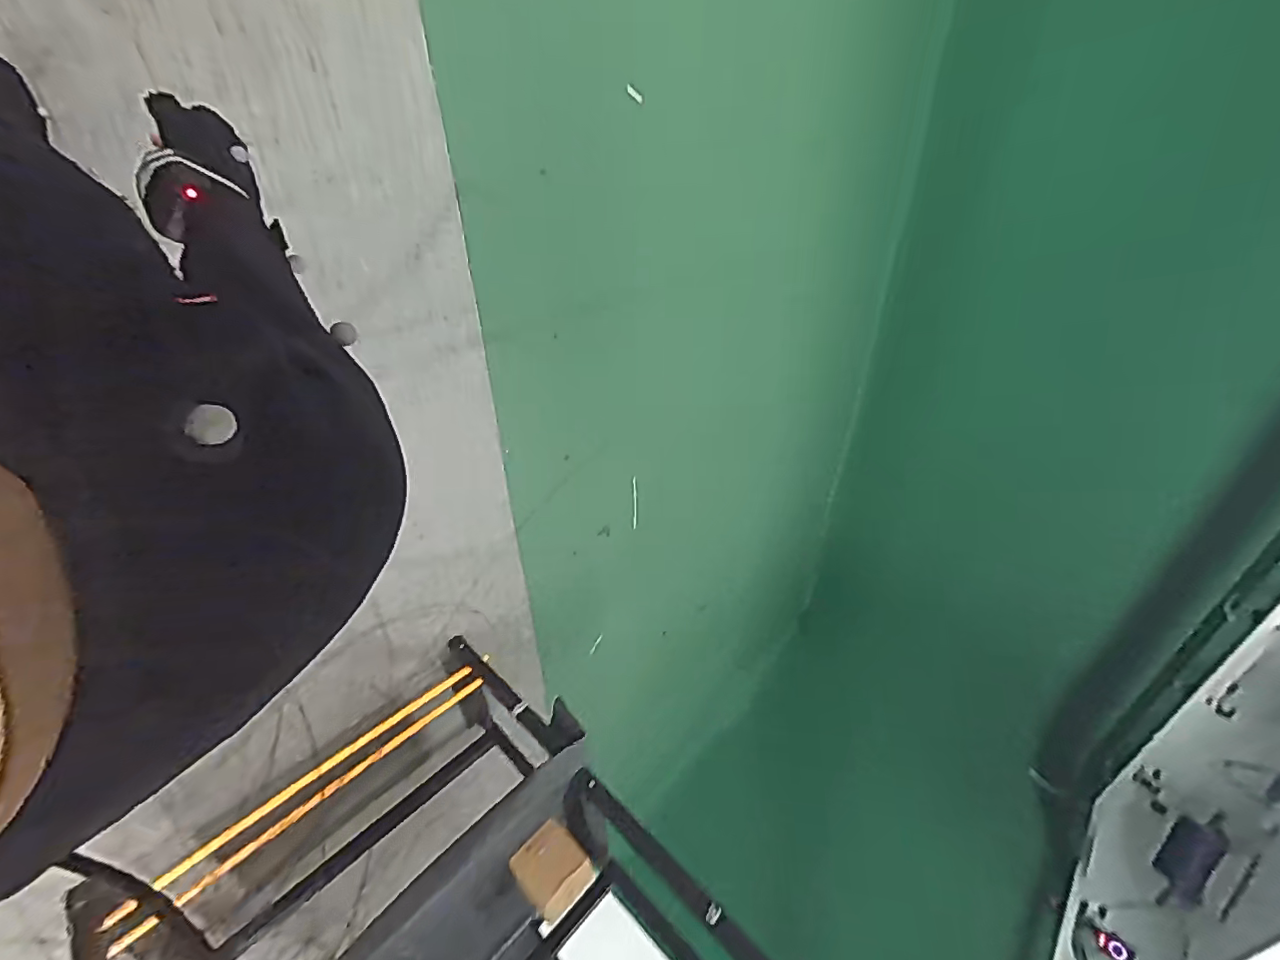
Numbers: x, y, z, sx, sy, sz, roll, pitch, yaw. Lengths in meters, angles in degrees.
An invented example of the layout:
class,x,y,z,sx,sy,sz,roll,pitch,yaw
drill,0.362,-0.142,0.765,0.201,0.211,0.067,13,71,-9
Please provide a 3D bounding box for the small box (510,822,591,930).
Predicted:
class,x,y,z,sx,sy,sz,roll,pitch,yaw
small box,-0.266,1.168,1.607,0.168,0.176,0.179,-31,135,-36
